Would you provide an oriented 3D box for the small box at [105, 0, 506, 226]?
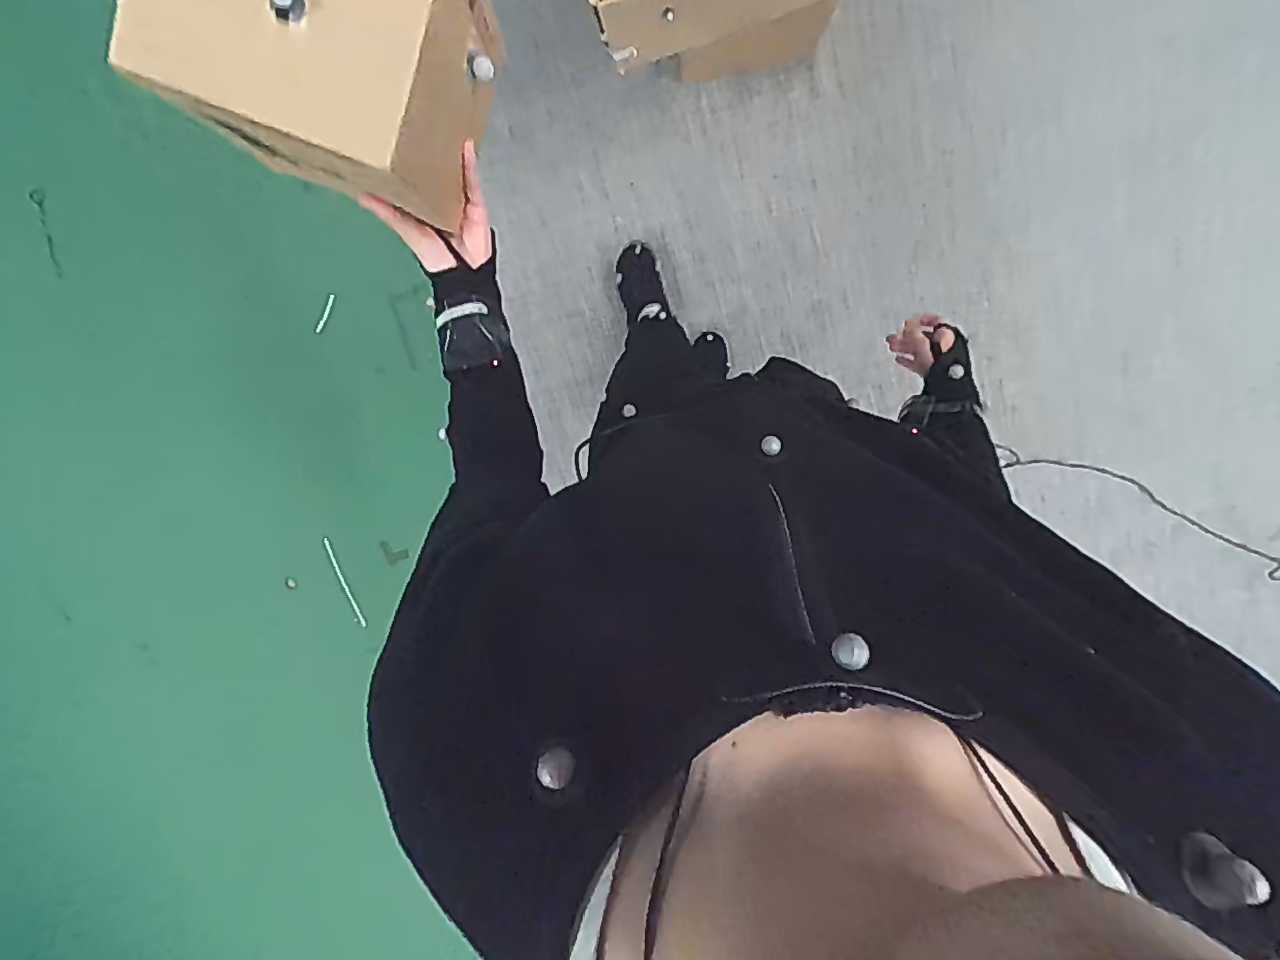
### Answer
[{"bbox_3d":[-0.220,-0.326,0.402,0.179,0.168,0.176,19,98,-7],"label":"small box"}]
